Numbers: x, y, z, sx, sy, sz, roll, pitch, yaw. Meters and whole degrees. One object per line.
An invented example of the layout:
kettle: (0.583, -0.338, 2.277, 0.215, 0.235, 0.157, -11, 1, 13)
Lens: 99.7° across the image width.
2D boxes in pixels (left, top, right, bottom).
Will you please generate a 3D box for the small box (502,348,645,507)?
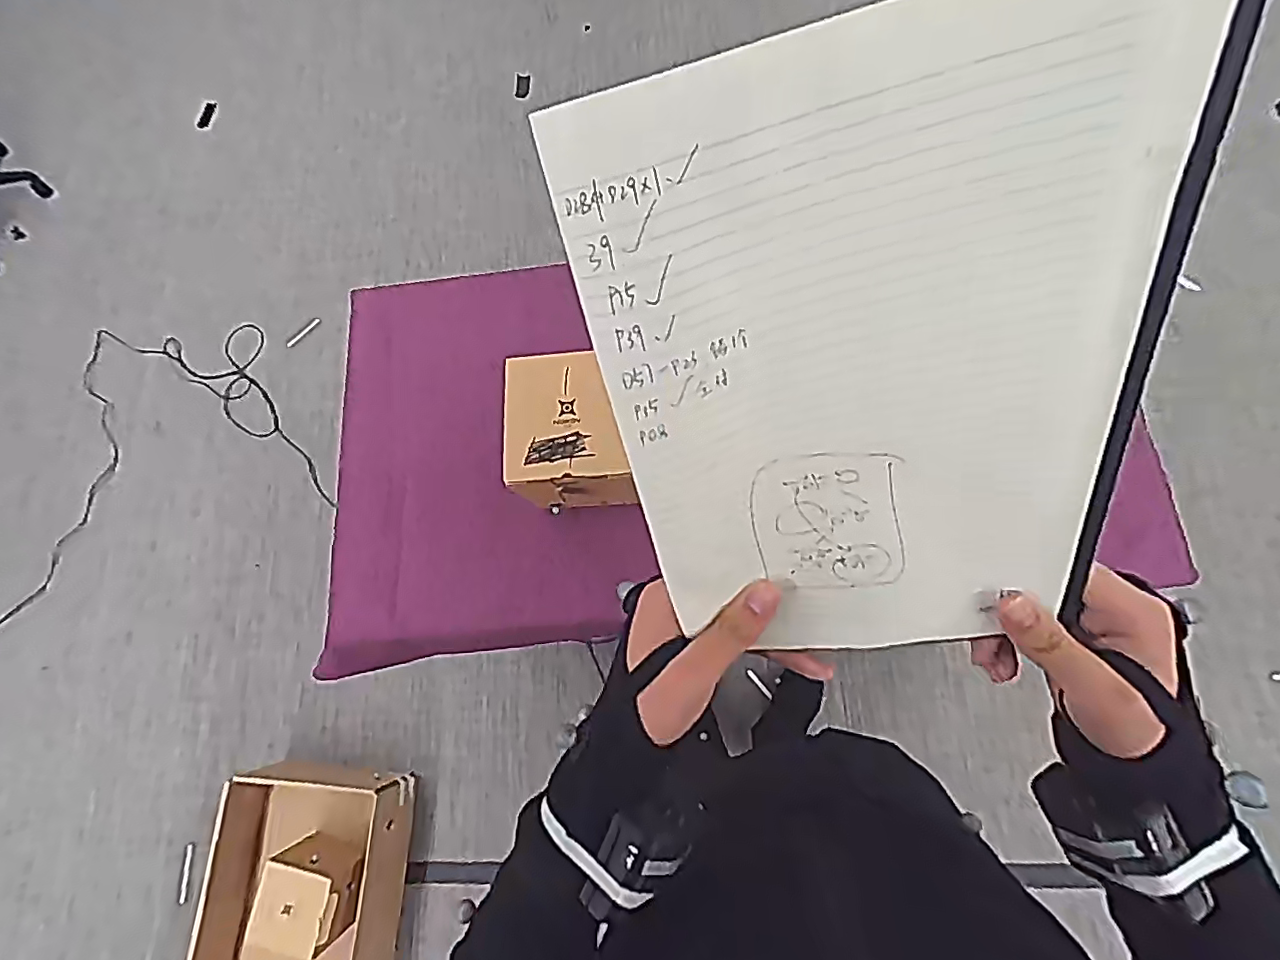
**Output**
small box: (-0.085, -0.061, 0.760, 0.168, 0.176, 0.179, -4, 75, 5)

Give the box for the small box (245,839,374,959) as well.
small box: (-0.768, 0.987, 1.280, 0.179, 0.176, 0.168, 9, 77, 9)
